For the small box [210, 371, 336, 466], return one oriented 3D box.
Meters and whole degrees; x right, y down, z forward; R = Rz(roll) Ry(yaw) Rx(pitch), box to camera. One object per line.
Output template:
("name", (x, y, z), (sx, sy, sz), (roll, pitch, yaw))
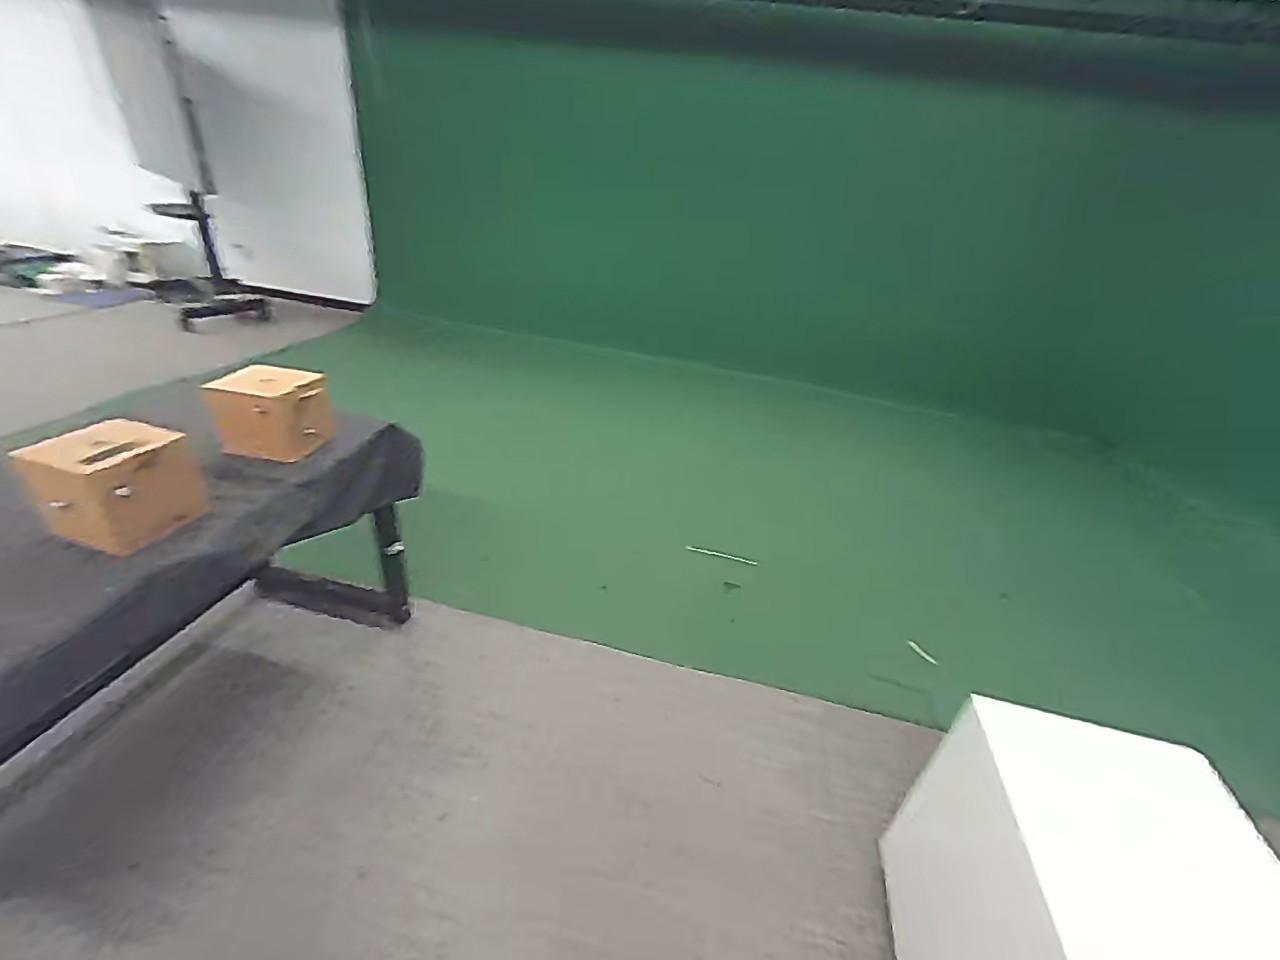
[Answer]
("small box", (-0.873, -0.149, 1.303), (0.179, 0.176, 0.168), (9, 30, 4))
